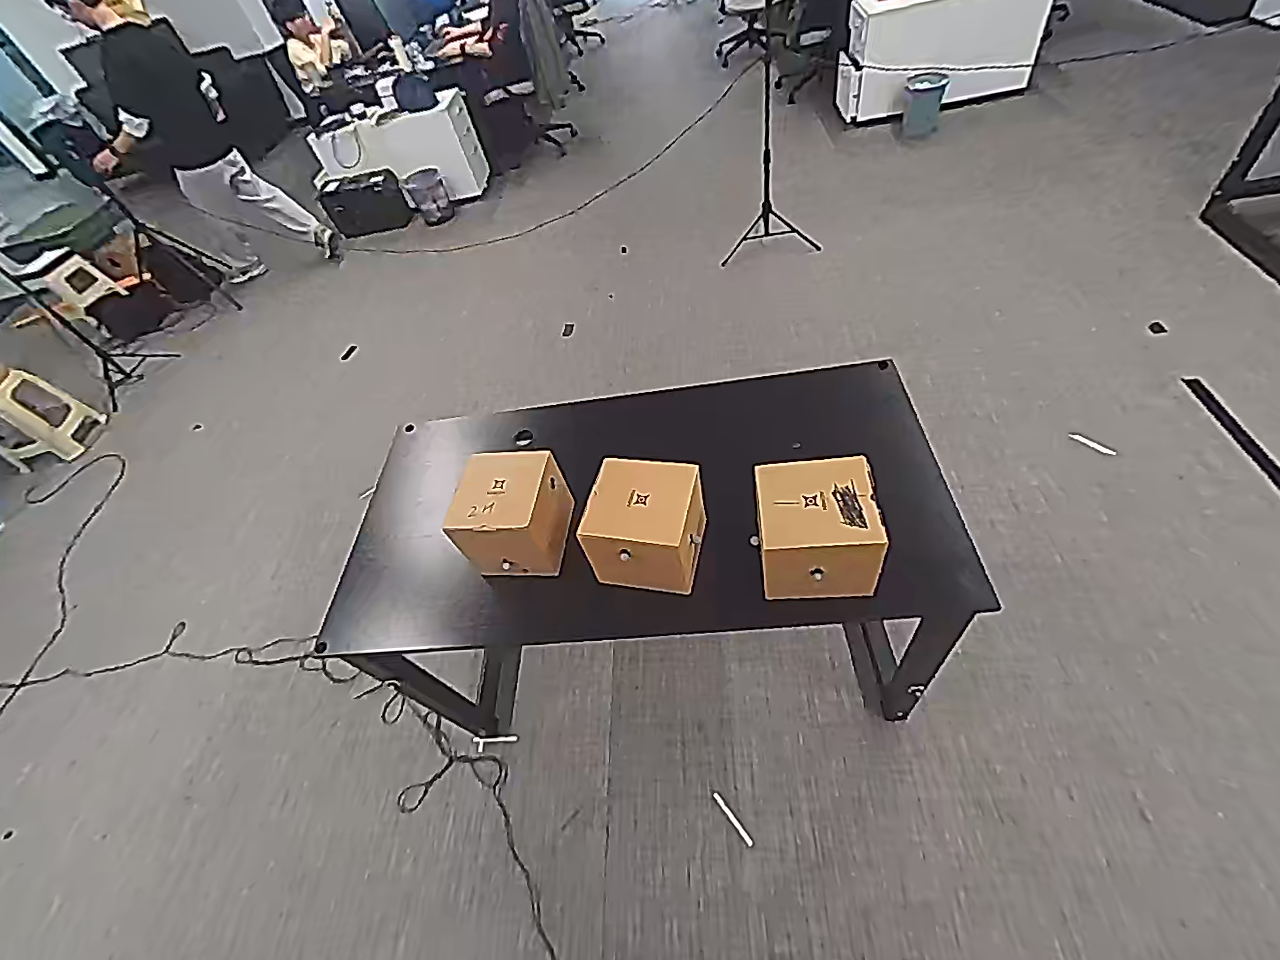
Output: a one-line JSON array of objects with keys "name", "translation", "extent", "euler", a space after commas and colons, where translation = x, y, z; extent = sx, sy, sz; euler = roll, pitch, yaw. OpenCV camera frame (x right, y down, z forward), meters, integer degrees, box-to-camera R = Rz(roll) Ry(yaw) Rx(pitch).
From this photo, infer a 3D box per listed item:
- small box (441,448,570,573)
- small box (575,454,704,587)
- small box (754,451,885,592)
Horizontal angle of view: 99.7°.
[{"name": "small box", "translation": [-0.242, 0.059, 1.029], "extent": [0.168, 0.176, 0.179], "euler": [-2, 53, 13]}, {"name": "small box", "translation": [0.011, 0.074, 0.957], "extent": [0.179, 0.176, 0.168], "euler": [4, 53, 18]}, {"name": "small box", "translation": [0.282, 0.073, 0.887], "extent": [0.179, 0.176, 0.168], "euler": [-5, 51, 11]}]
